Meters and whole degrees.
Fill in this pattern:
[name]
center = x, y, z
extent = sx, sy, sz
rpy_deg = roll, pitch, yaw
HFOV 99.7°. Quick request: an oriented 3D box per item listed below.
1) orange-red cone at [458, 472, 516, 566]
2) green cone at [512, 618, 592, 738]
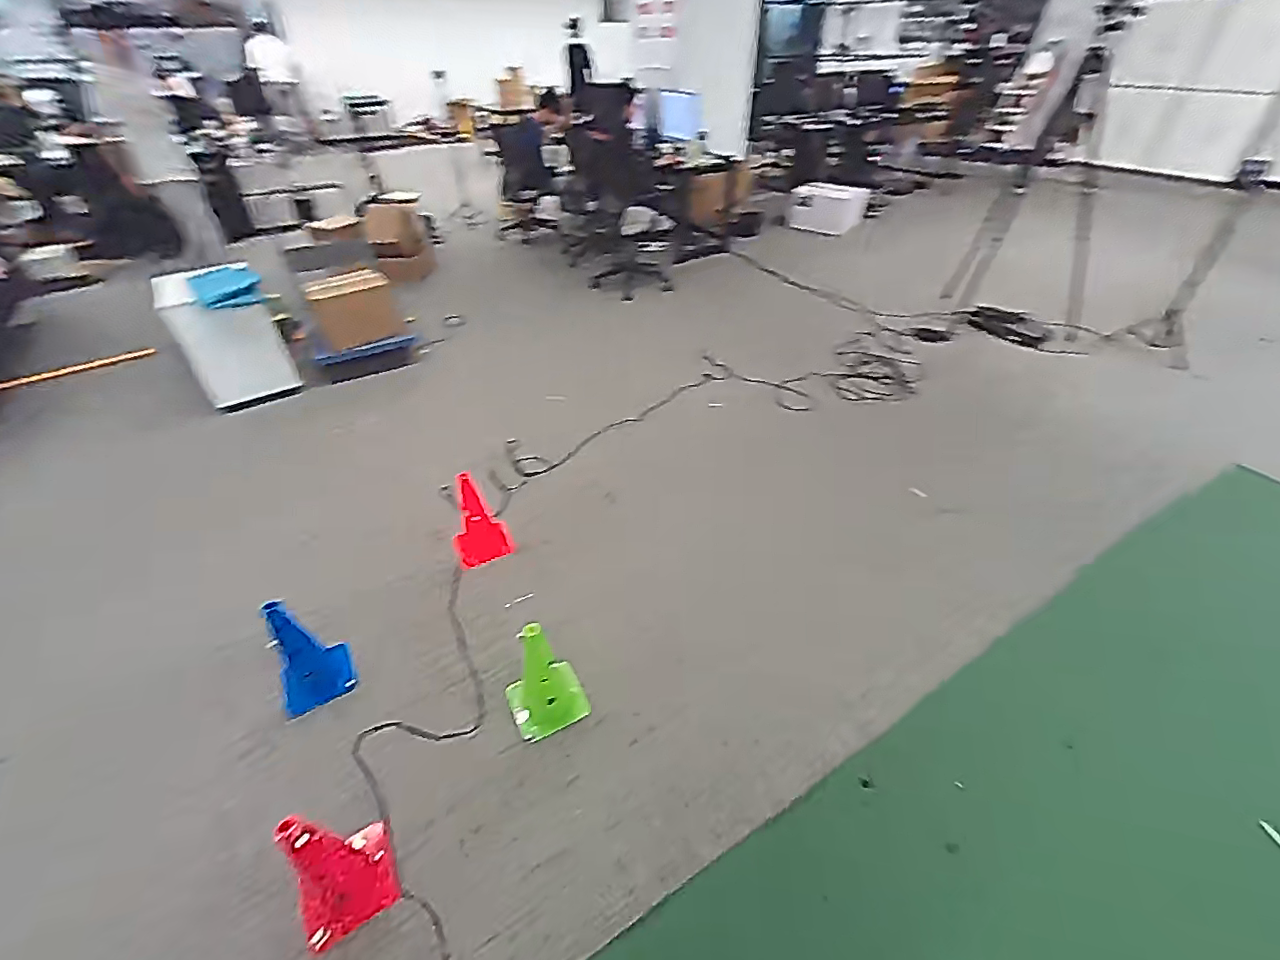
[orange-red cone]
center = -0.610, 0.117, 2.024
extent = 0.198, 0.360, 0.199
rpy_deg = -19, 44, -19
[green cone]
center = -0.268, 0.517, 1.515
extent = 0.200, 0.368, 0.202
rpy_deg = -20, 41, -22
